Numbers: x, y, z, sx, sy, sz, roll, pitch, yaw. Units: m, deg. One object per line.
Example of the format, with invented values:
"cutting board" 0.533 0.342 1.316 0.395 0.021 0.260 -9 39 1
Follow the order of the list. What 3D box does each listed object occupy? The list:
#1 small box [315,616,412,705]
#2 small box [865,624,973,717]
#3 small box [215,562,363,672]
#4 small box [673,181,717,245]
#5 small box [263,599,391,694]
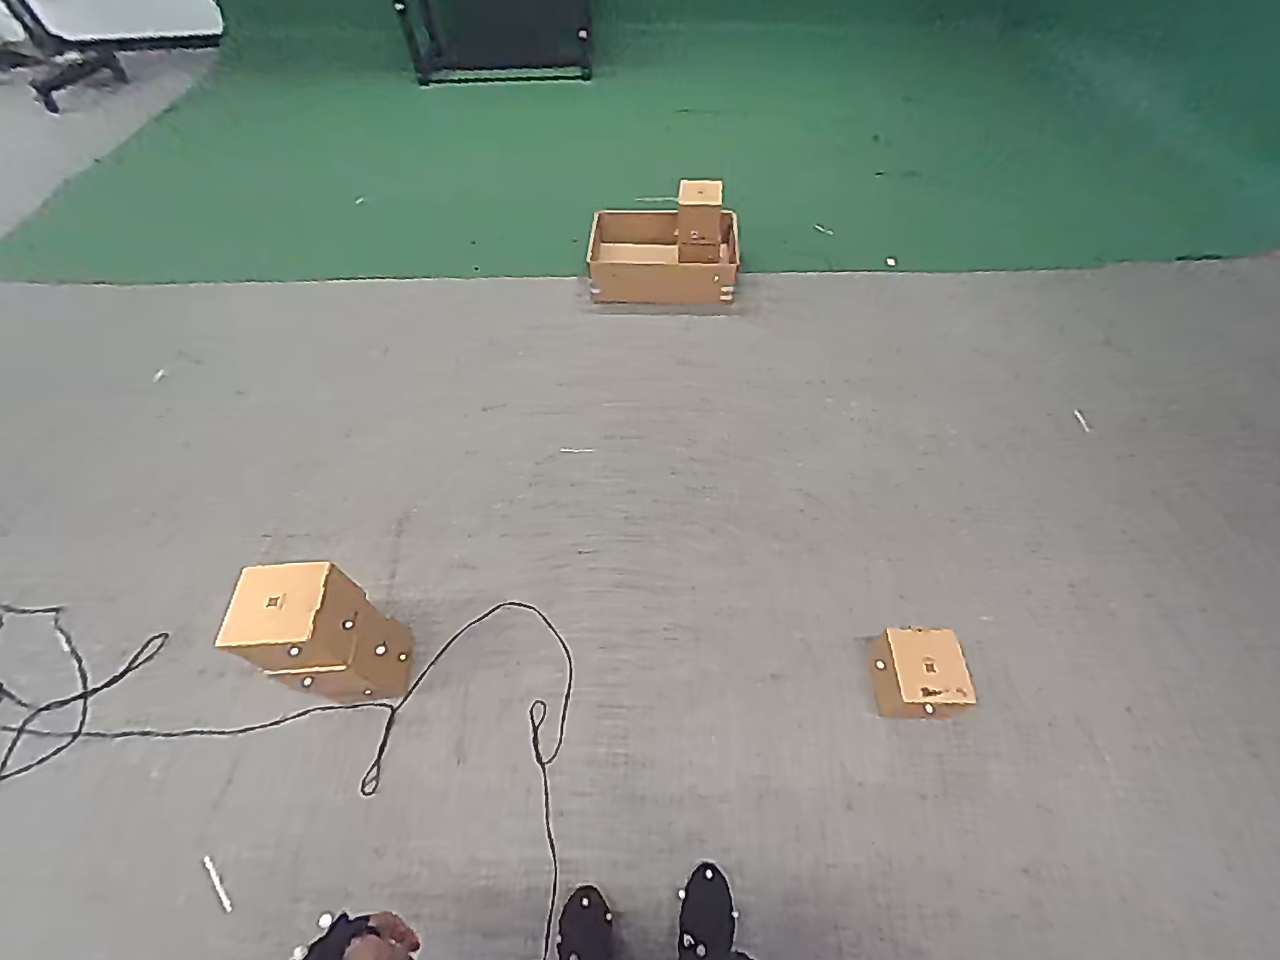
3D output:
"small box" -0.707 0.464 1.387 0.179 0.176 0.168 -7 54 -2
"small box" 0.675 0.472 1.335 0.168 0.176 0.179 0 54 2
"small box" -0.707 0.286 1.113 0.179 0.176 0.168 -4 55 -2
"small box" 0.221 -1.072 2.168 0.168 0.176 0.179 2 57 4
"small box" -0.707 0.384 1.243 0.179 0.176 0.168 -3 55 -1
